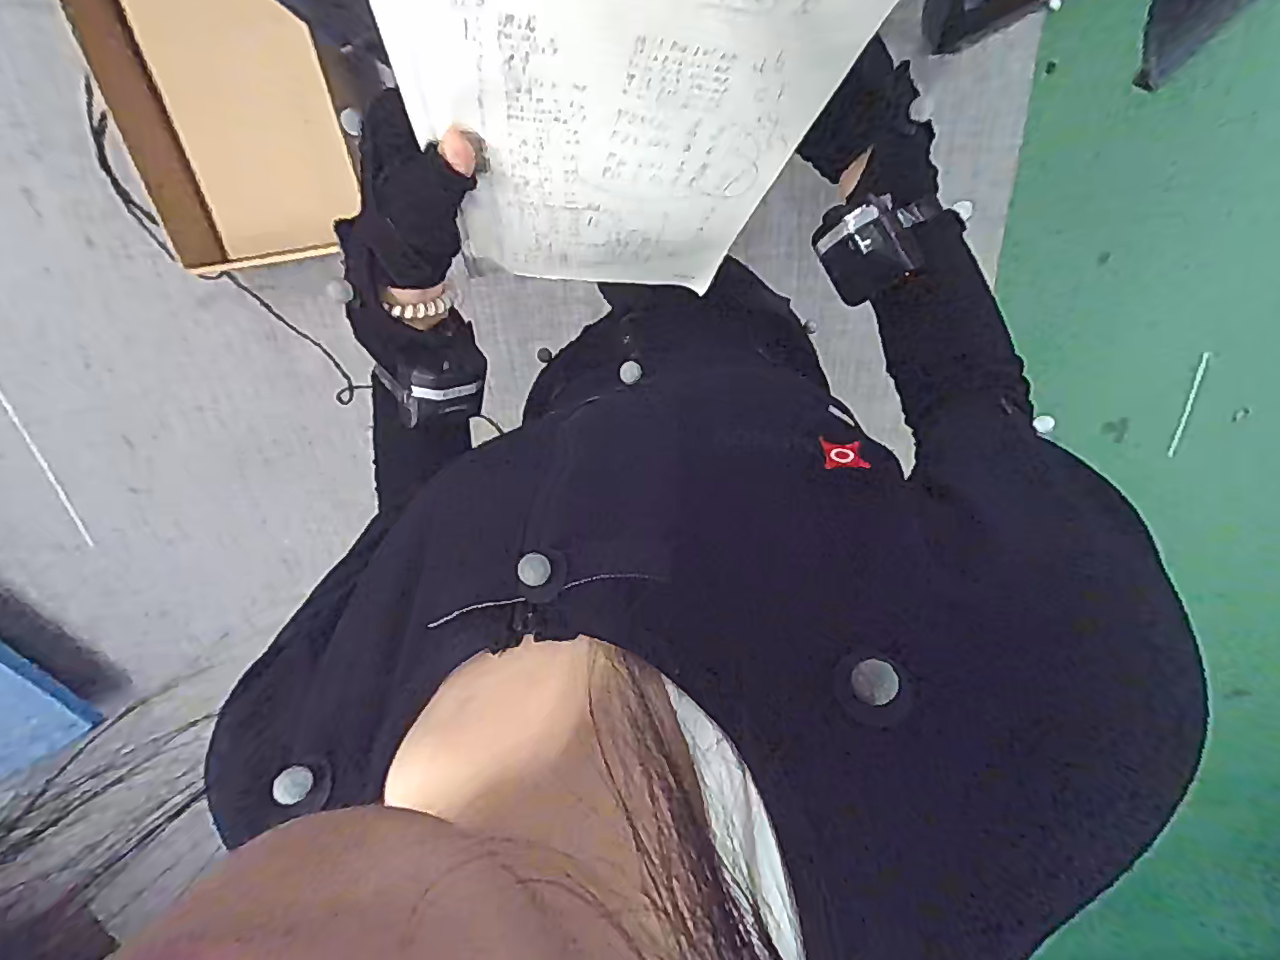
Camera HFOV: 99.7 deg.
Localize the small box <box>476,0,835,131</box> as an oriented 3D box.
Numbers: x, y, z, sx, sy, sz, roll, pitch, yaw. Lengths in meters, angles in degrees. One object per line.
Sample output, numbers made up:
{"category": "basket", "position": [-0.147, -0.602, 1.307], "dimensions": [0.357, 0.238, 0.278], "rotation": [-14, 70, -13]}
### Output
{"category": "small box", "position": [-0.004, -0.309, 0.305], "dimensions": [0.179, 0.176, 0.168], "rotation": [-9, 119, 0]}
